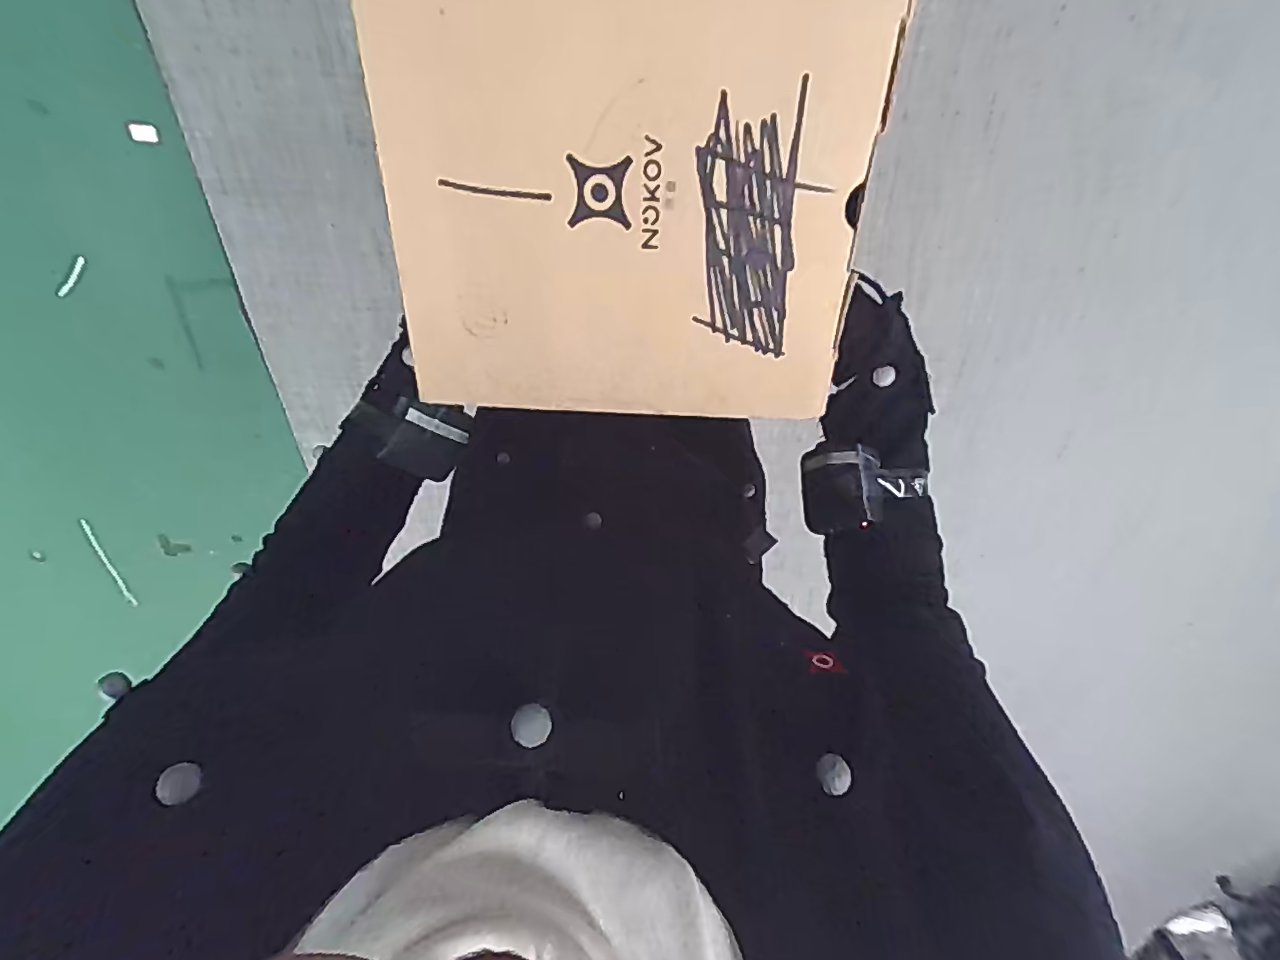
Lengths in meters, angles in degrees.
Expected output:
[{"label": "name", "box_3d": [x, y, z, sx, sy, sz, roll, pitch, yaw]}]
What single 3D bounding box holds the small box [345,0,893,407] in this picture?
[{"label": "small box", "box_3d": [-0.007, -0.147, 0.265, 0.179, 0.176, 0.168, 4, 119, 2]}]
